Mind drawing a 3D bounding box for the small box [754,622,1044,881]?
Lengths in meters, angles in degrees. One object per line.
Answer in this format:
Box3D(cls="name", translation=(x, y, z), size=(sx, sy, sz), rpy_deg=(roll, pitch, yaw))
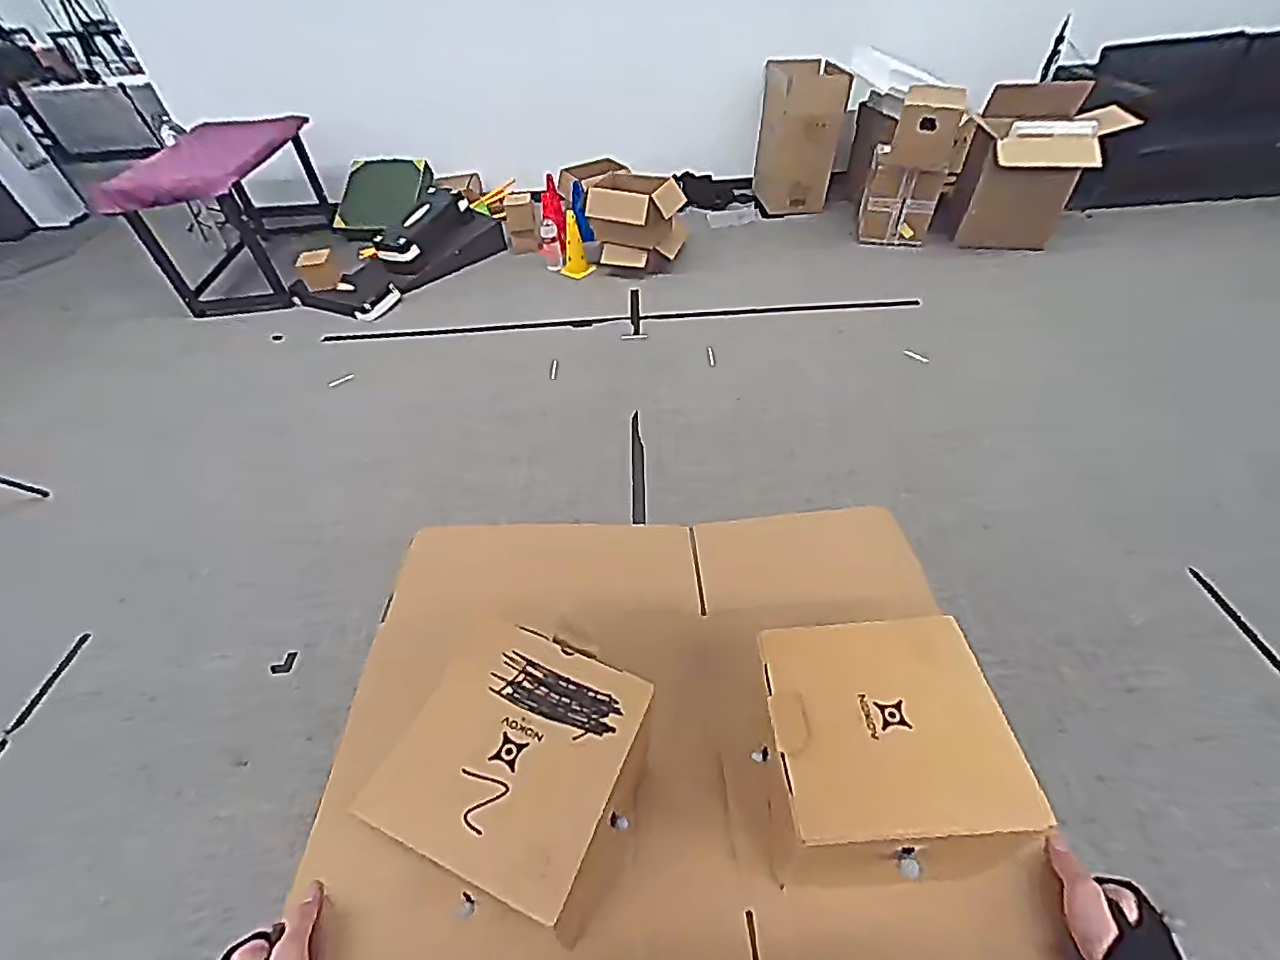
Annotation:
Box3D(cls="small box", translation=(0.207, 0.251, 0.496), size=(0.179, 0.176, 0.168), rpy_deg=(-6, 43, 4))
